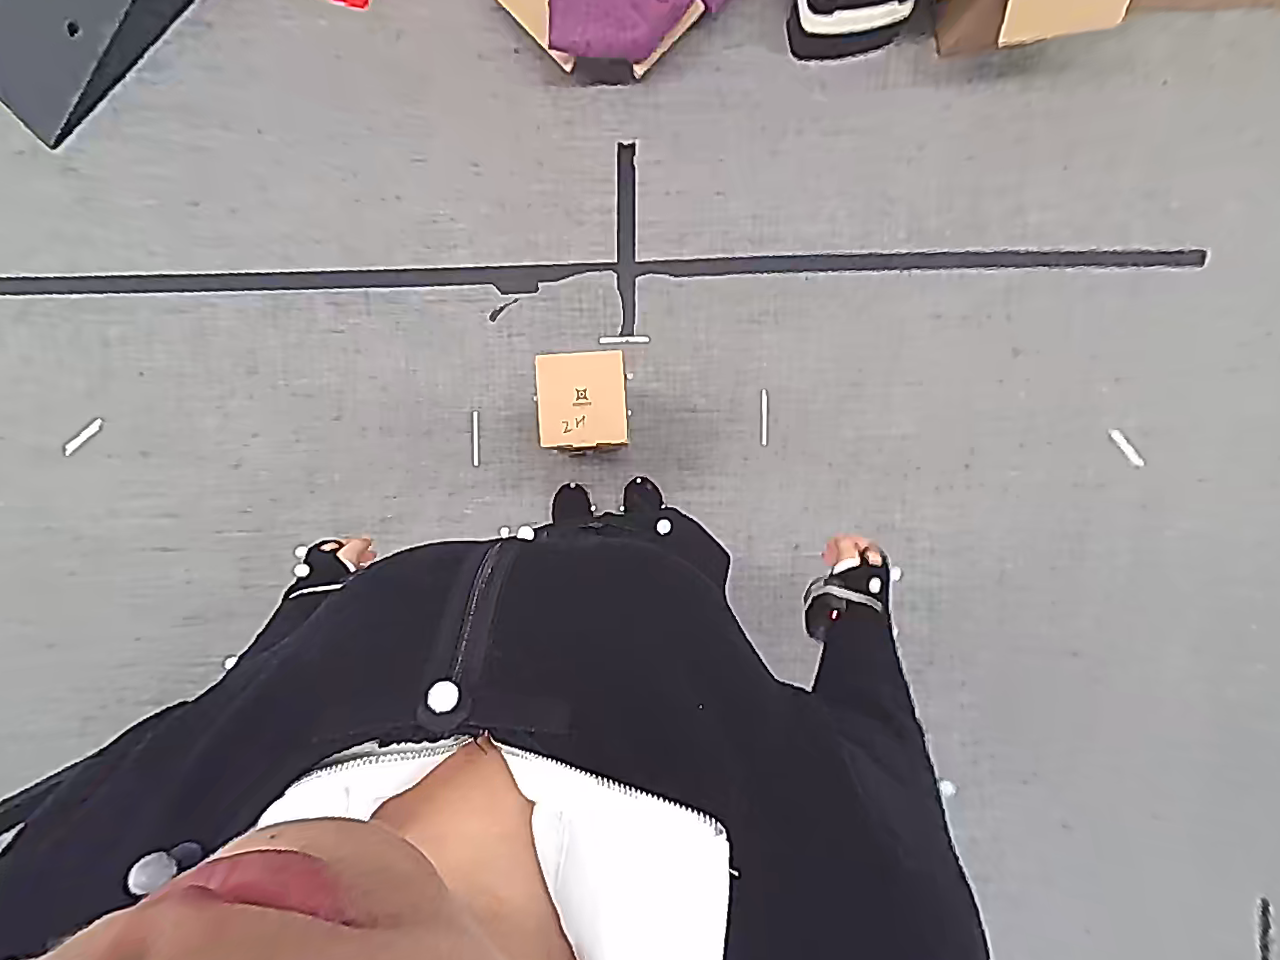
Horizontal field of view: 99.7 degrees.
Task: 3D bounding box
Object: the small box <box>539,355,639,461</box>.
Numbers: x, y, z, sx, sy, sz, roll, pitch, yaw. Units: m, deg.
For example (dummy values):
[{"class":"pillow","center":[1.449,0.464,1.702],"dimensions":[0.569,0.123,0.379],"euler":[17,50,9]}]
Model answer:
[{"class":"small box","center":[-0.088,-0.126,1.005],"dimensions":[0.168,0.176,0.179],"euler":[-3,92,1]}]
